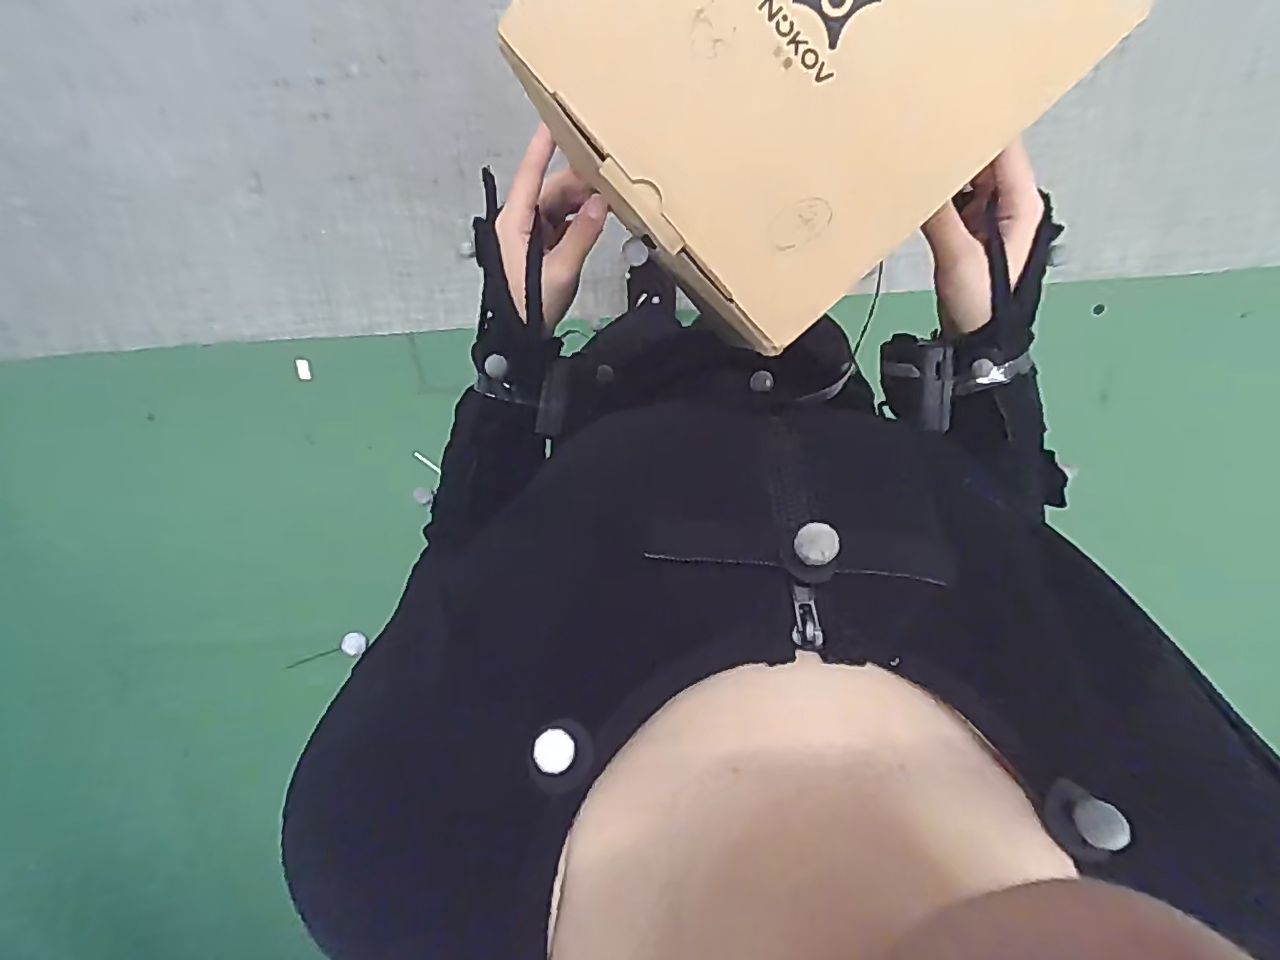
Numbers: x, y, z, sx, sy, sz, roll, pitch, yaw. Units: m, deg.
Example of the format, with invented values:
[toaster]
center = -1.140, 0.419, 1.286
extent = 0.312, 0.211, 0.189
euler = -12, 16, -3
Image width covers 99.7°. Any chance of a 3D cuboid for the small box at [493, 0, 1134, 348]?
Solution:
[small box]
center = 0.065, -0.187, 0.275
extent = 0.179, 0.176, 0.168
euler = -42, 99, 13
